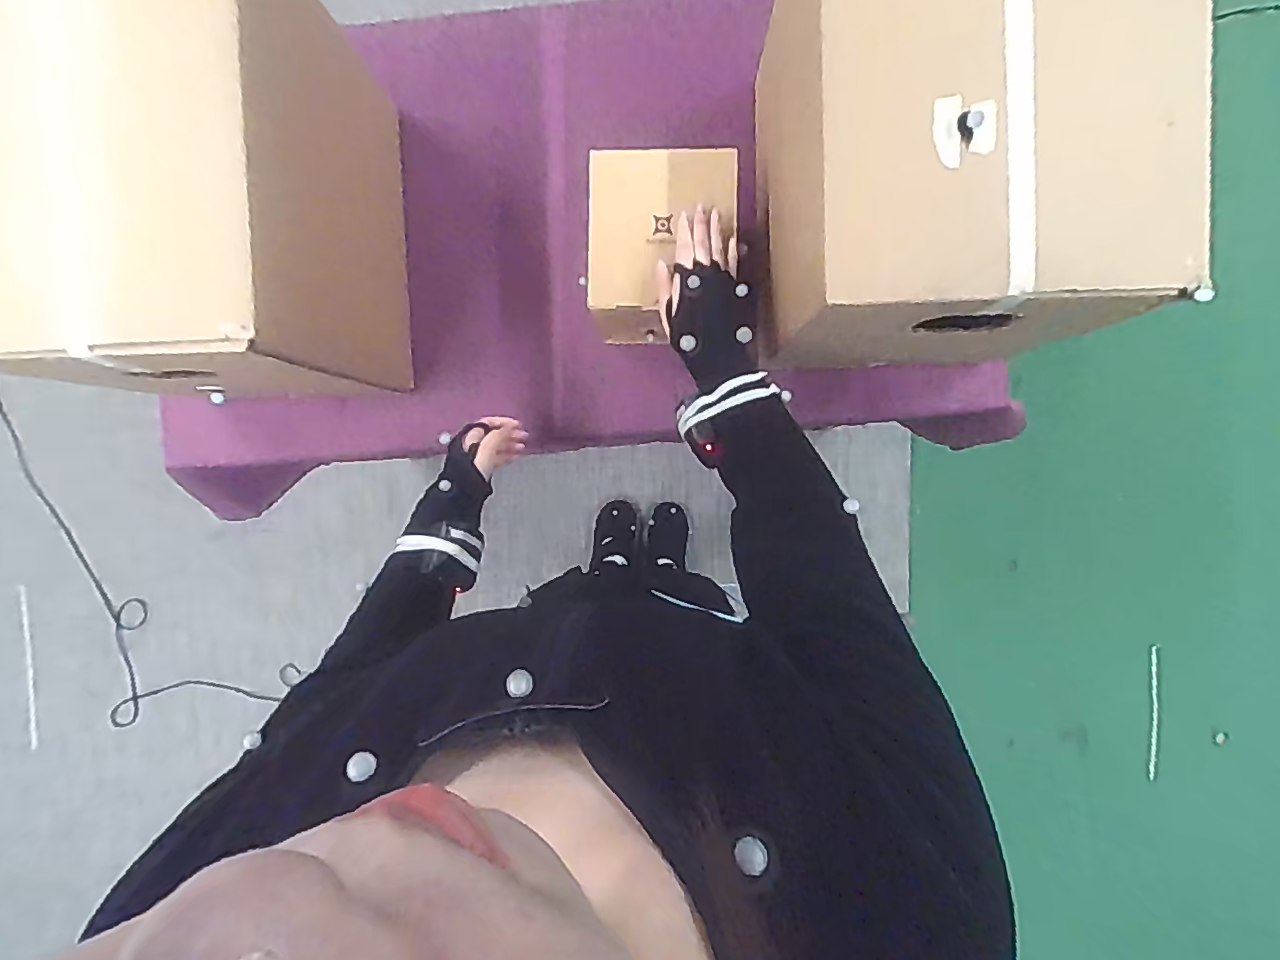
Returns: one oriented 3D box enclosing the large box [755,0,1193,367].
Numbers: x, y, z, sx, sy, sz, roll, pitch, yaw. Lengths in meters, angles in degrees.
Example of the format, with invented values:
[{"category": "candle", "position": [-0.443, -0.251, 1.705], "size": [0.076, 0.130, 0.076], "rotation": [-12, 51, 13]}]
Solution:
[{"category": "large box", "position": [0.317, -0.354, 0.608], "size": [0.320, 0.320, 0.408], "rotation": [-1, 92, 1]}]
